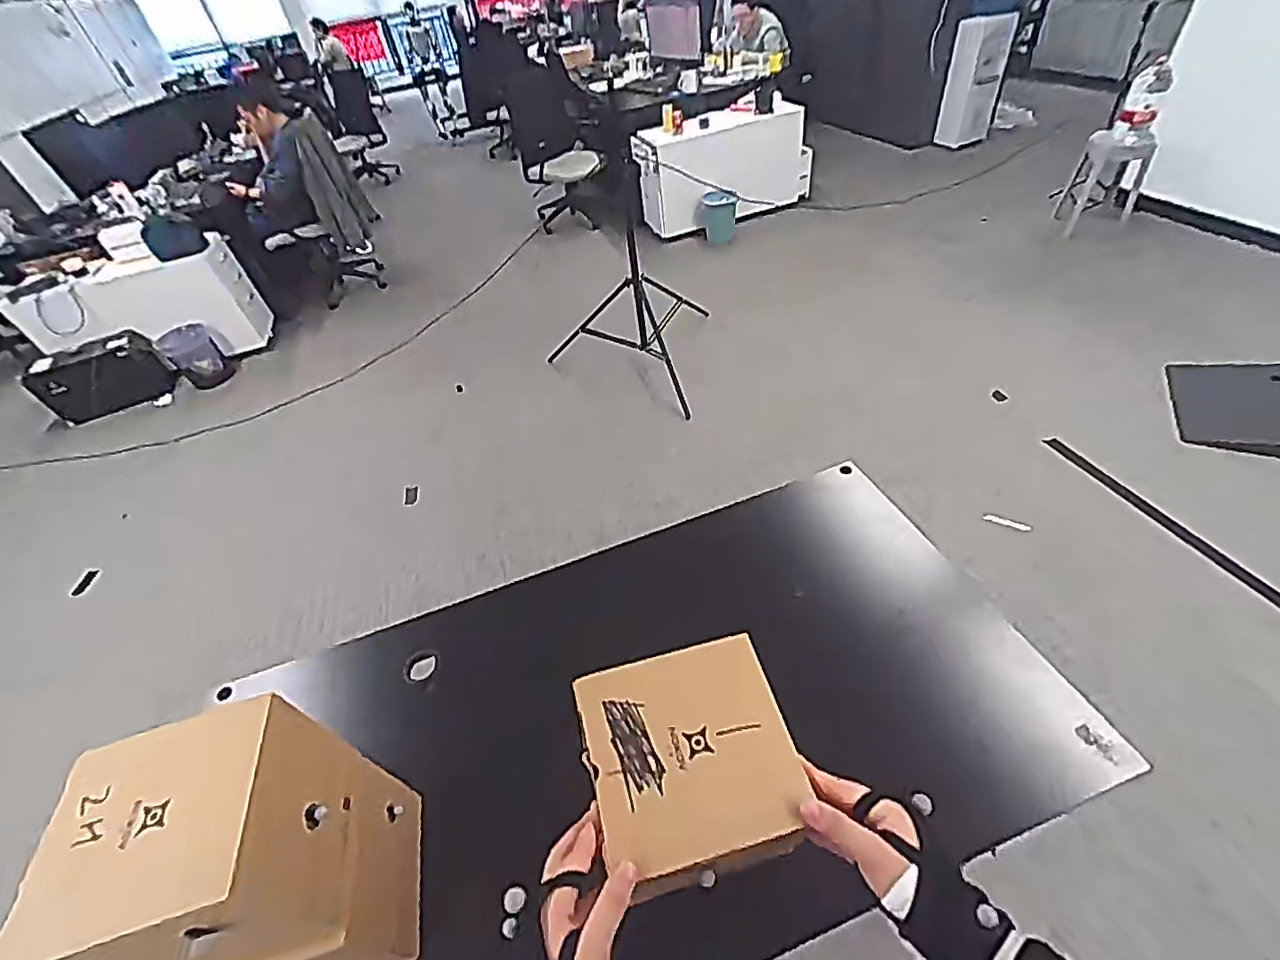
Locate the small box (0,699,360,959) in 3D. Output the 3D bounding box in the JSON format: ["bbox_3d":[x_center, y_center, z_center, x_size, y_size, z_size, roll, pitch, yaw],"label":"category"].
[{"bbox_3d":[-0.385,0.336,0.496,0.179,0.176,0.168,-17,44,-6],"label":"small box"}]

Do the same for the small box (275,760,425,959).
[{"bbox_3d":[-0.356,0.455,0.608,0.168,0.176,0.179,-17,46,-6],"label":"small box"}]

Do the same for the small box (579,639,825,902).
[{"bbox_3d":[0.049,0.283,0.524,0.179,0.176,0.168,-12,50,-8],"label":"small box"}]
